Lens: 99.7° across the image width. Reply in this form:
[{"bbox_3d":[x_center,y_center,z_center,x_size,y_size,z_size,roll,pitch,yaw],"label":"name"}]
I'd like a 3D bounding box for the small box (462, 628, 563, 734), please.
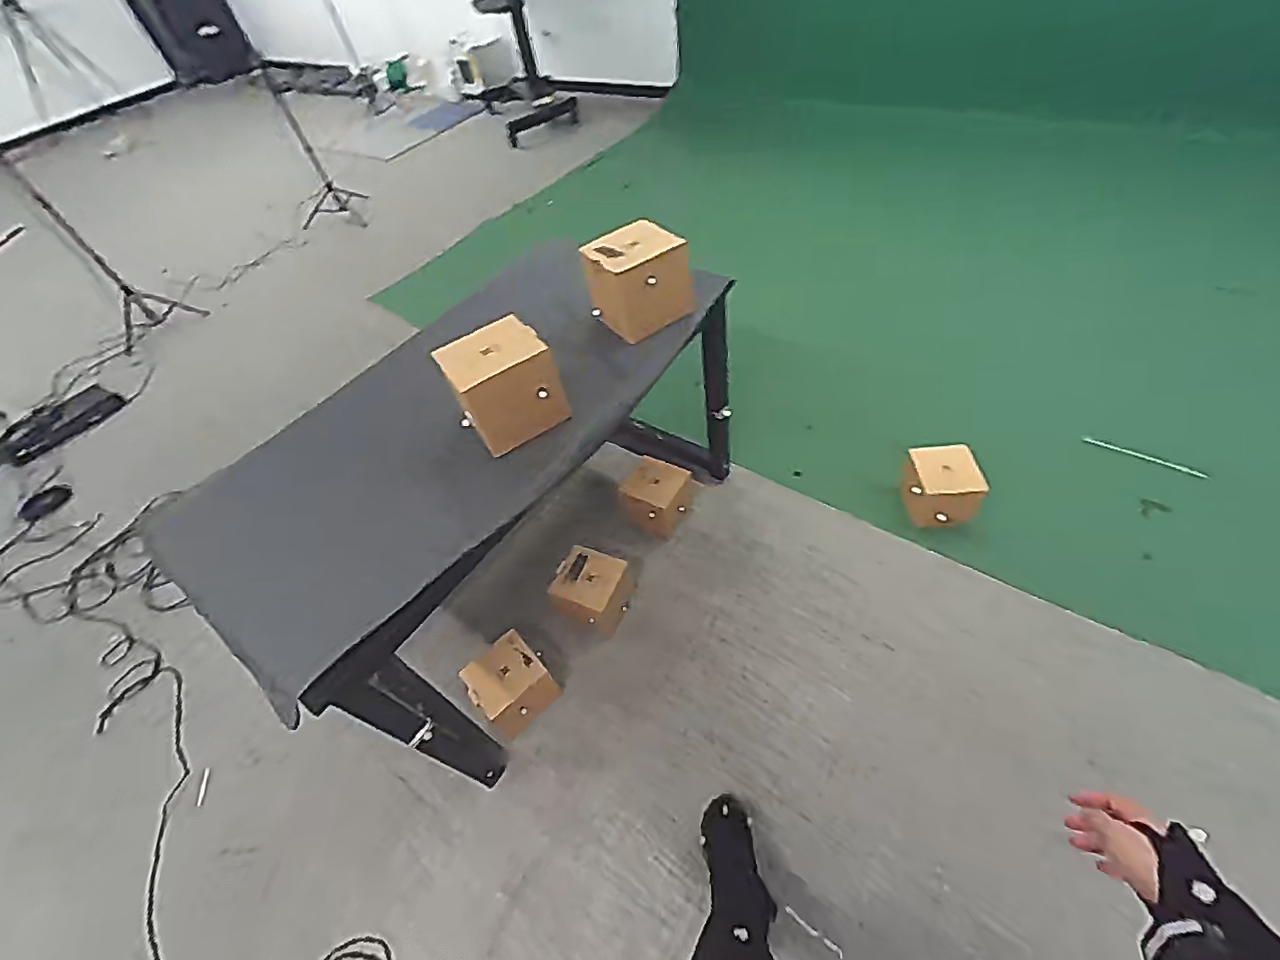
[{"bbox_3d":[-0.328,0.534,1.425,0.179,0.176,0.168,-38,55,-20],"label":"small box"}]

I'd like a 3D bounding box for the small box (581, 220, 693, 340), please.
[{"bbox_3d":[-0.001,-0.440,1.196,0.179,0.176,0.168,-32,51,-14],"label":"small box"}]

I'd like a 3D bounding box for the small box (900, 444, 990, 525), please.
[{"bbox_3d":[0.903,0.016,1.622,0.168,0.176,0.179,-4,52,6],"label":"small box"}]

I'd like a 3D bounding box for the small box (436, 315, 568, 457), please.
[{"bbox_3d":[-0.255,-0.179,1.039,0.179,0.176,0.168,-33,50,-14],"label":"small box"}]

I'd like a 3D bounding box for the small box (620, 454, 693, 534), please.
[{"bbox_3d":[0.061,0.051,1.739,0.179,0.176,0.168,21,58,24],"label":"small box"}]
